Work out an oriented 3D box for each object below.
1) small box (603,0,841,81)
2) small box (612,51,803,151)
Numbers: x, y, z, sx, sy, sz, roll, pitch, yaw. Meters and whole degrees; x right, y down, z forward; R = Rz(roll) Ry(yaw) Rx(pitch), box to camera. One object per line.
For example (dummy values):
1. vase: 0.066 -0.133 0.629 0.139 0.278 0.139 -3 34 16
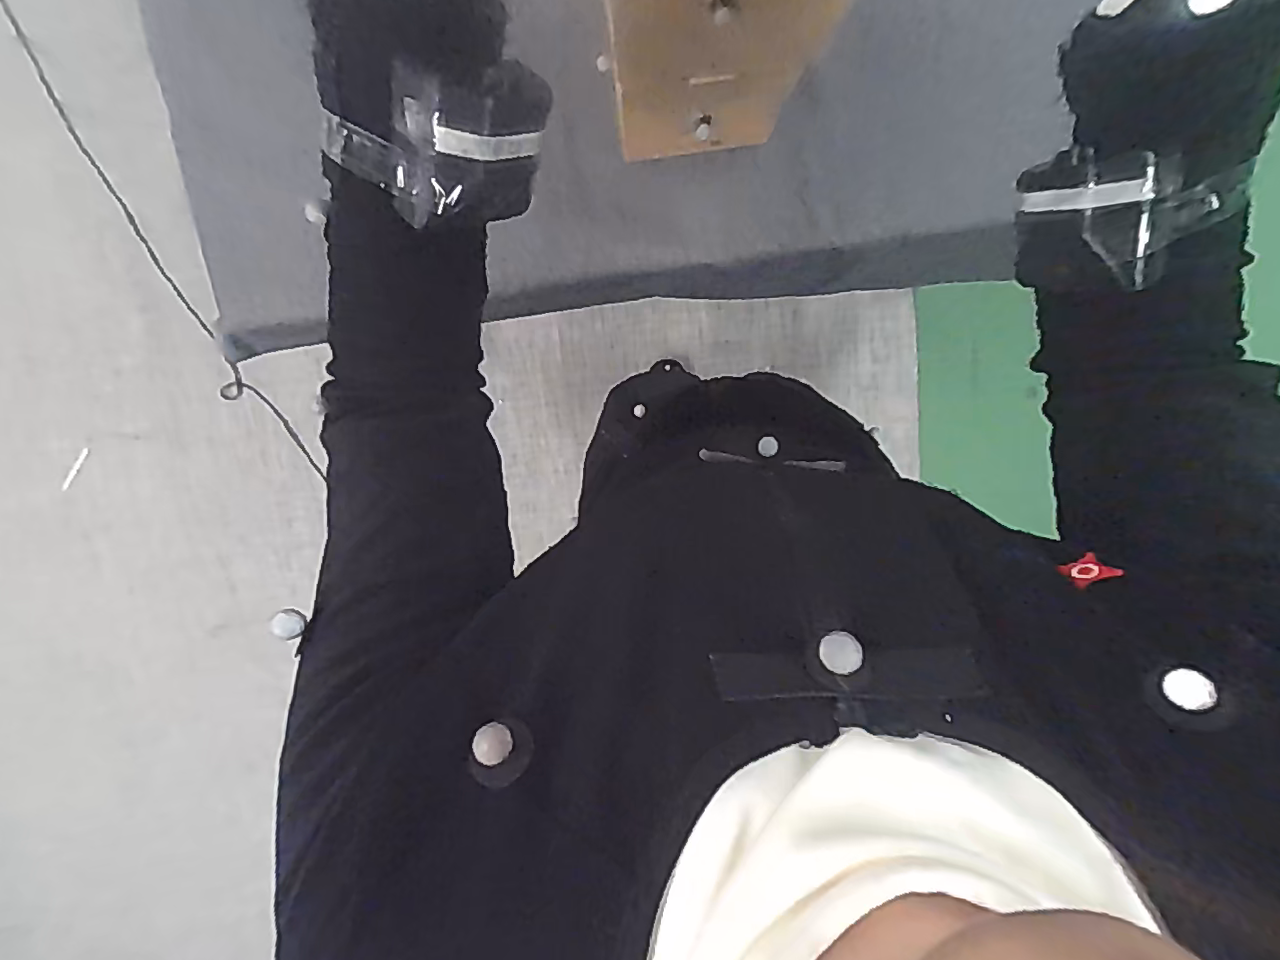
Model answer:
1. small box: 0.056 -0.411 0.367 0.179 0.176 0.168 -4 100 3
2. small box: 0.052 -0.448 0.528 0.168 0.176 0.179 -8 101 3
